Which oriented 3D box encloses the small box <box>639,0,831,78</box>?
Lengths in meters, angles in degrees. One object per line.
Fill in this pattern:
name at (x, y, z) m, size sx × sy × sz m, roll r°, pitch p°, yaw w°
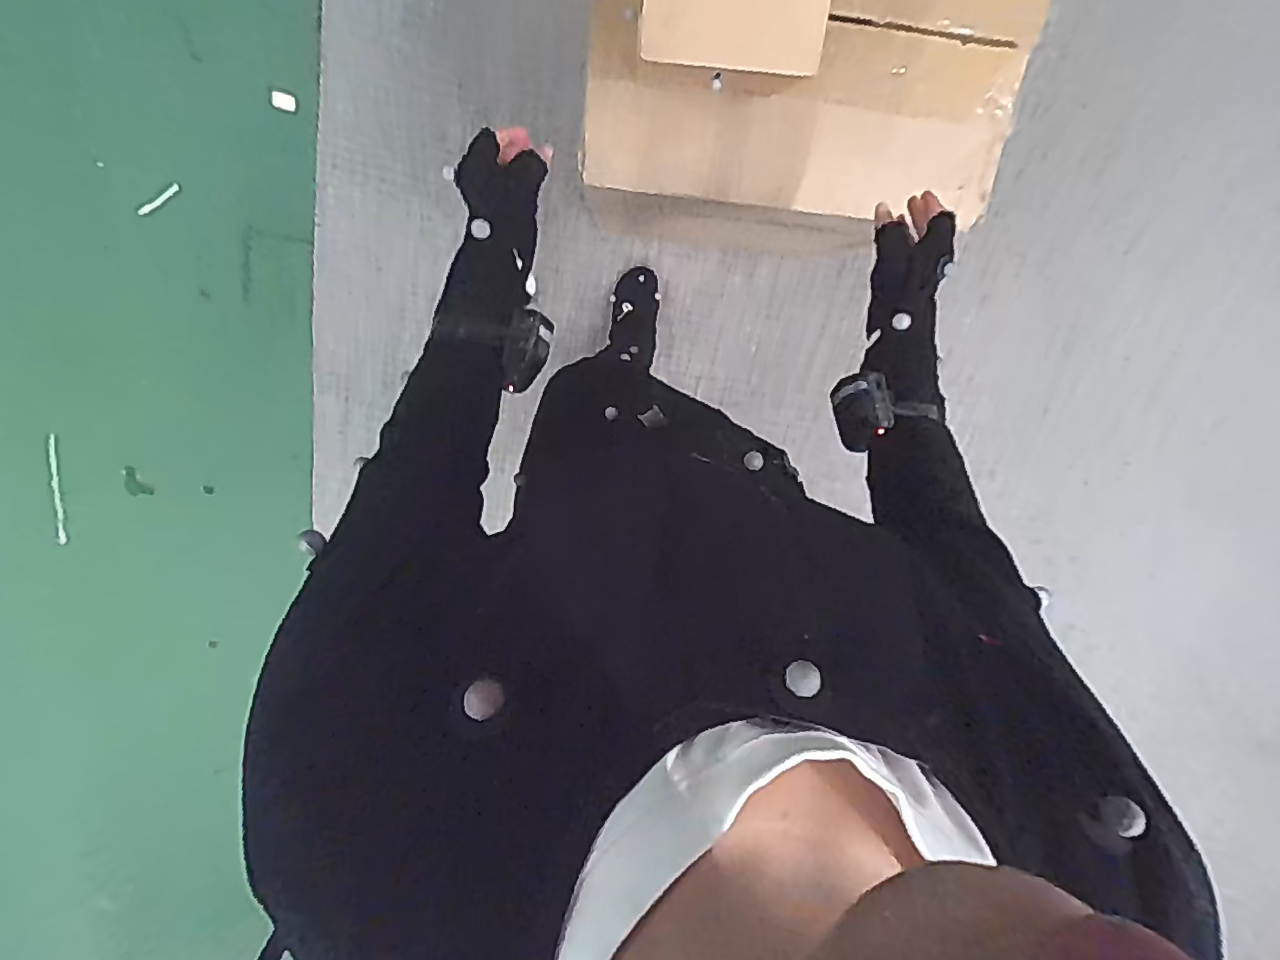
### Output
small box at (0.091, -0.517, 0.540) m, size 0.179 × 0.176 × 0.168 m, roll 3°, pitch 122°, yaw -3°
